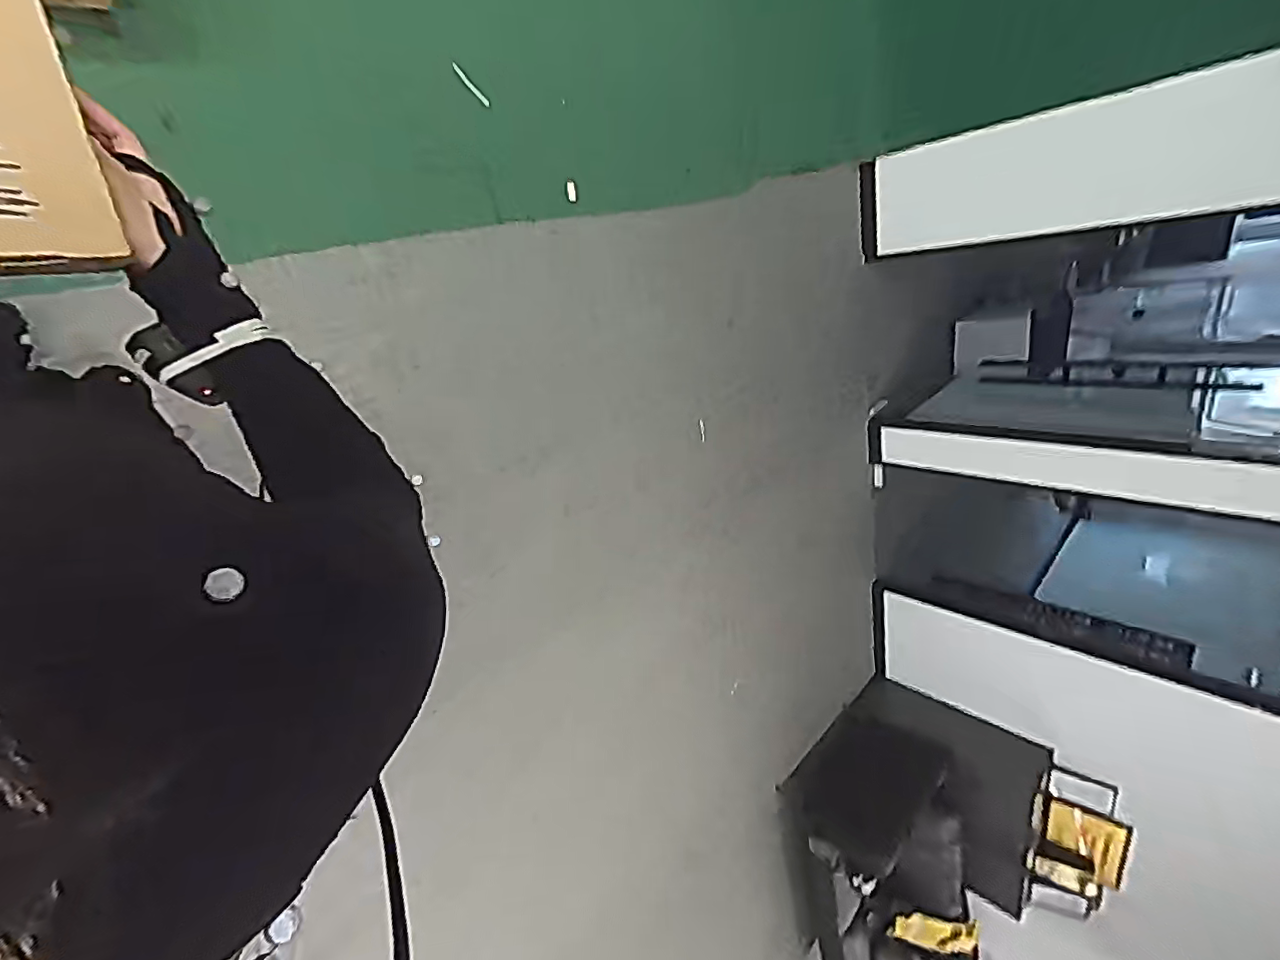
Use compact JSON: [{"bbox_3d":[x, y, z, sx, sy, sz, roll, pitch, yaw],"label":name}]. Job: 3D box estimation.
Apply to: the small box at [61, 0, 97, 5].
[{"bbox_3d":[-1.008,-0.902,0.856,0.168,0.176,0.179,-27,116,-36],"label":"small box"}]
